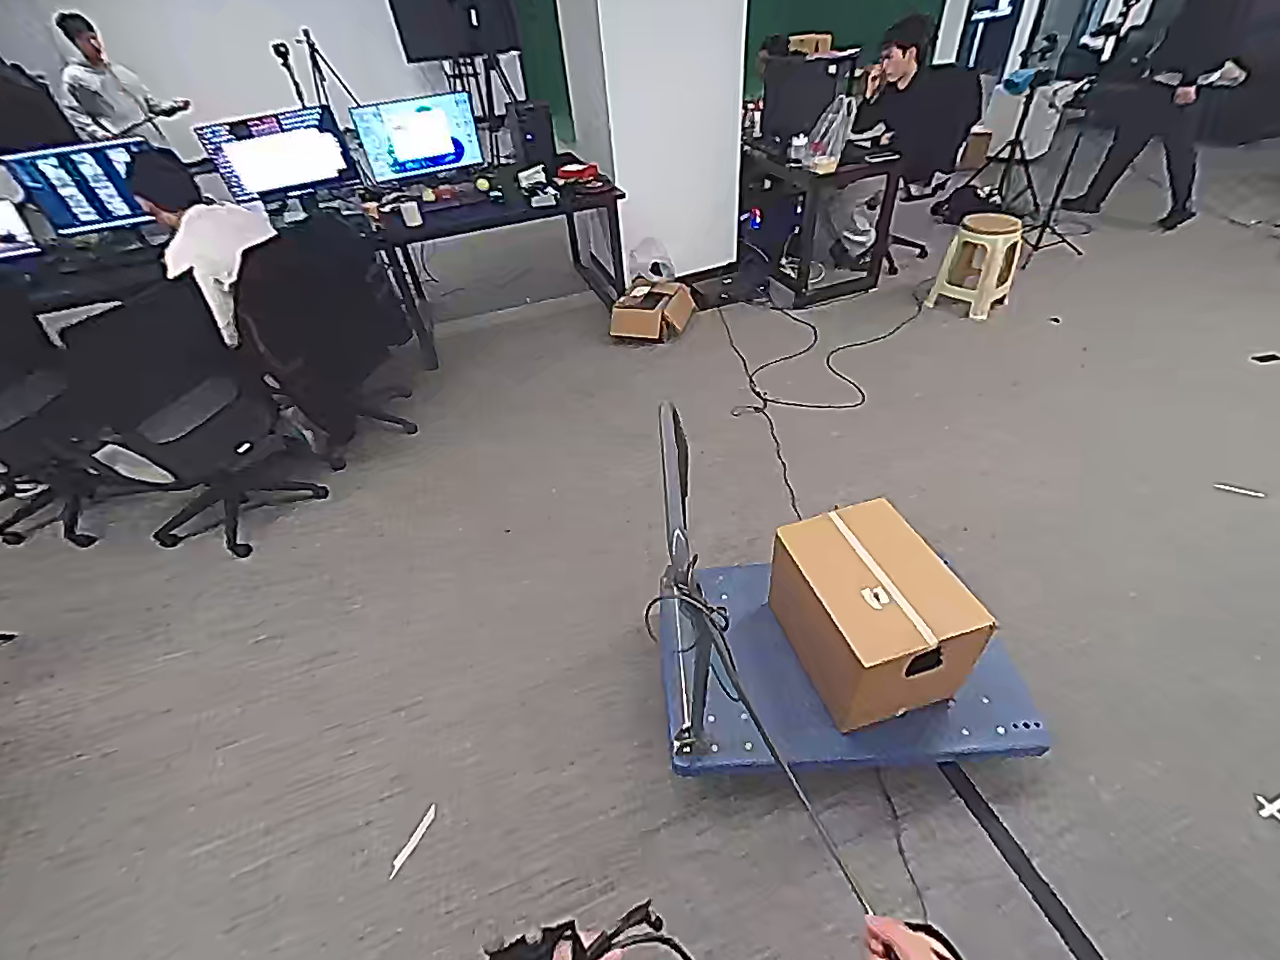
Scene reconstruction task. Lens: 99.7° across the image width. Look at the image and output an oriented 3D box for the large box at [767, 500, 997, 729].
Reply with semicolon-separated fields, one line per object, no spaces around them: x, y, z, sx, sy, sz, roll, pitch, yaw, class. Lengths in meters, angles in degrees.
0.548;0.319;1.333;0.320;0.320;0.408;-15;44;-8;large box
